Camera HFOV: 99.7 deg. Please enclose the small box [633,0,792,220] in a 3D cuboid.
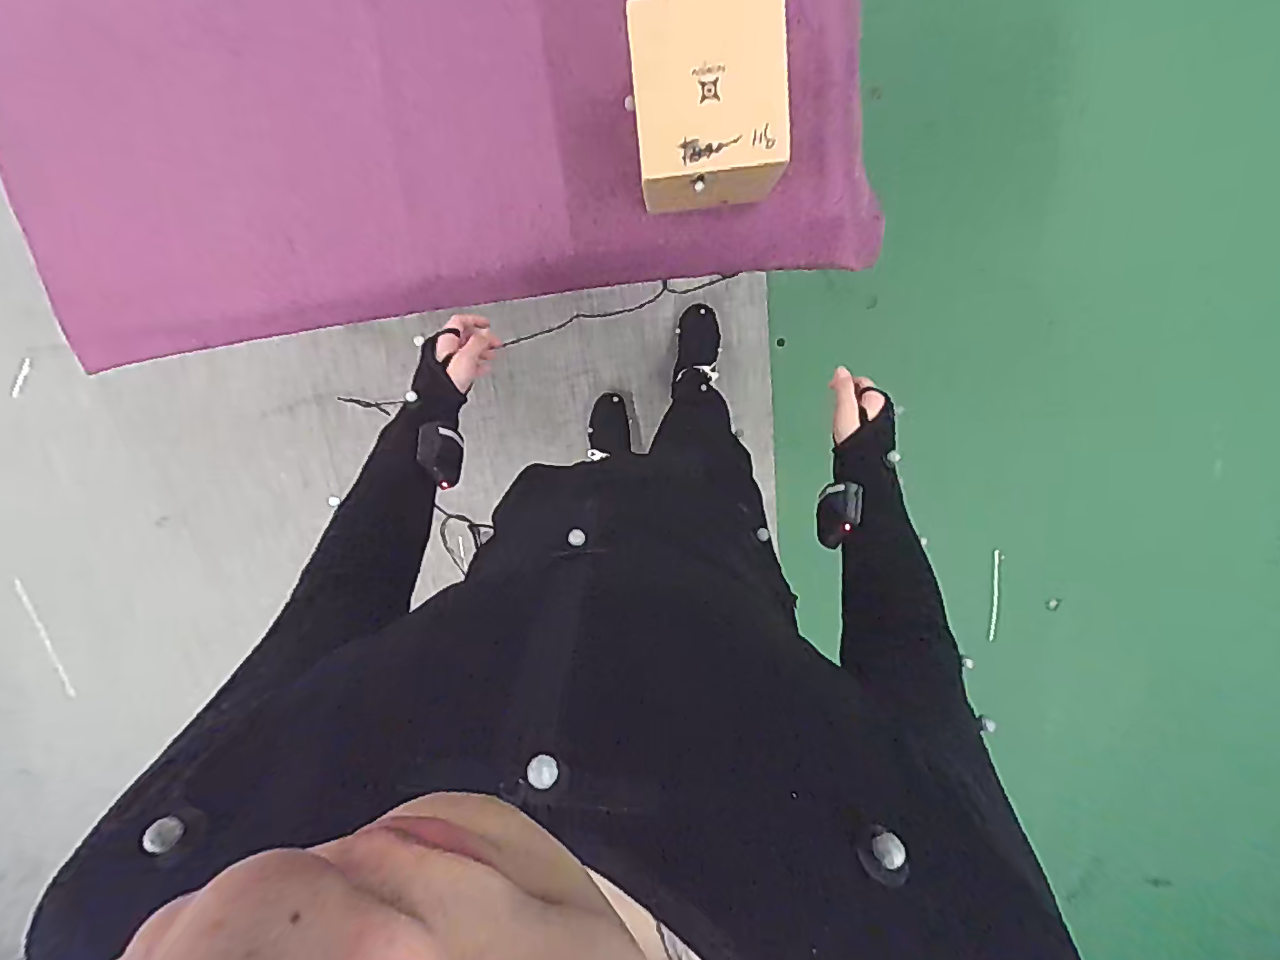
[{"bbox_3d":[0.082,-0.437,0.657,0.168,0.176,0.179,-4,103,4],"label":"small box"}]
